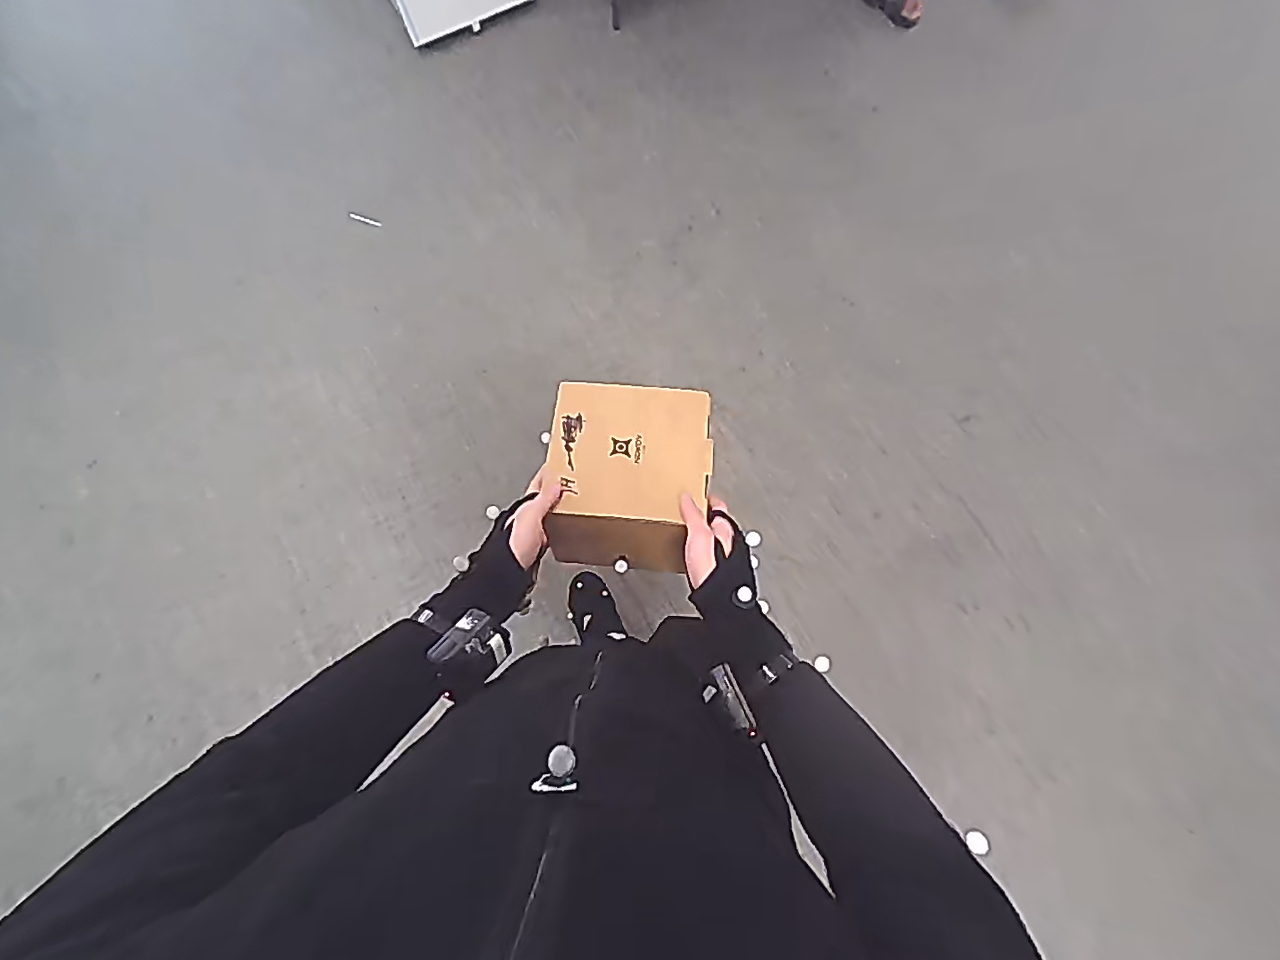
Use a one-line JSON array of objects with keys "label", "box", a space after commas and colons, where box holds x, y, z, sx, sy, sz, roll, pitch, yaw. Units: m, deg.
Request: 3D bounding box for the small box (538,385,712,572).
[{"label": "small box", "box": [-0.015, 0.007, 0.657, 0.179, 0.176, 0.168, 5, 63, 0]}]
